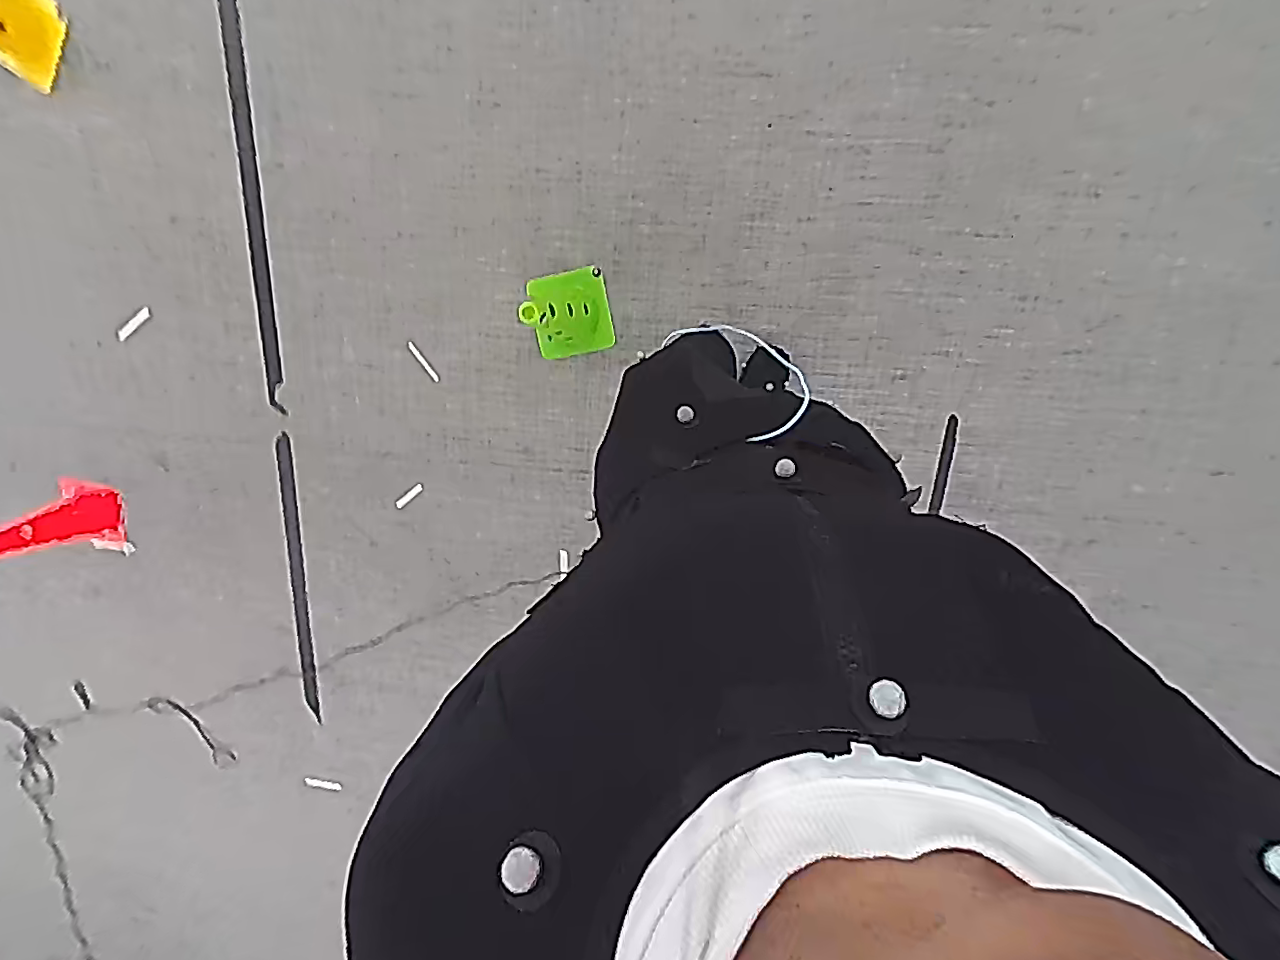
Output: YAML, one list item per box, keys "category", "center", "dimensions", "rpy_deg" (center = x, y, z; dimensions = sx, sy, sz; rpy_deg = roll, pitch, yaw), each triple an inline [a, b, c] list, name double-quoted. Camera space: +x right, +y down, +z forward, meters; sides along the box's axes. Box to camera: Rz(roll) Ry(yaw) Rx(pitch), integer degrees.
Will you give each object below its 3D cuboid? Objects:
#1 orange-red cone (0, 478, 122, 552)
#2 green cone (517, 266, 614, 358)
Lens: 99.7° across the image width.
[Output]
- category: "orange-red cone"
  center: [-1.768, 0.148, 1.561]
  dimensions: [0.198, 0.360, 0.199]
  rpy_deg: [13, 106, 3]
- category: "green cone"
  center: [-0.200, -0.370, 1.204]
  dimensions: [0.200, 0.368, 0.202]
  rpy_deg: [-9, 106, 10]
